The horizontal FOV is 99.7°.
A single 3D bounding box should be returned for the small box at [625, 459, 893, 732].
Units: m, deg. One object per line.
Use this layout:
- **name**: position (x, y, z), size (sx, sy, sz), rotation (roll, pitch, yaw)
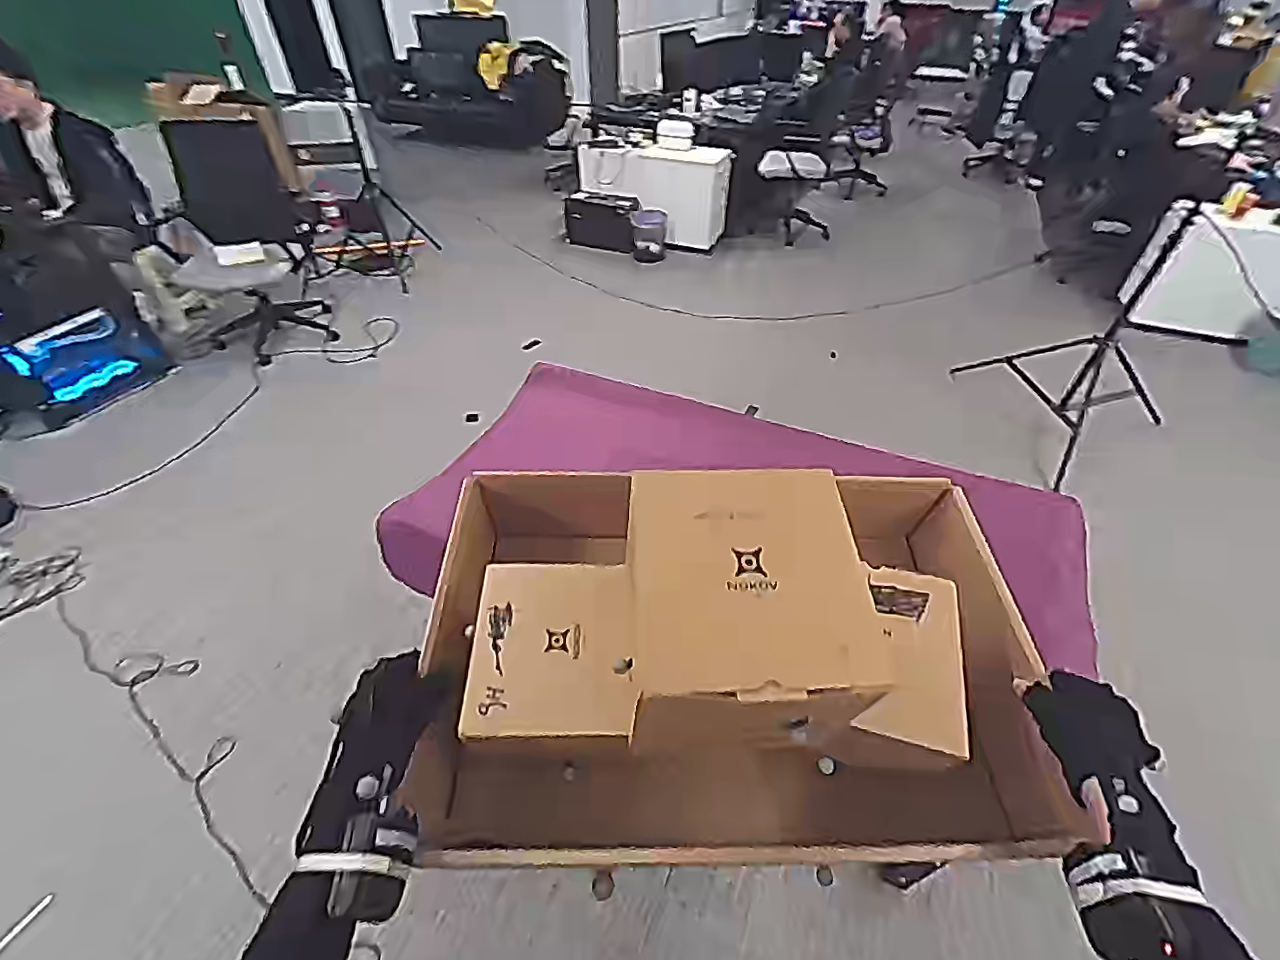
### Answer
- **small box**: position (0.073, 0.101, 0.447), size (0.168, 0.176, 0.179), rotation (0, 52, -4)
